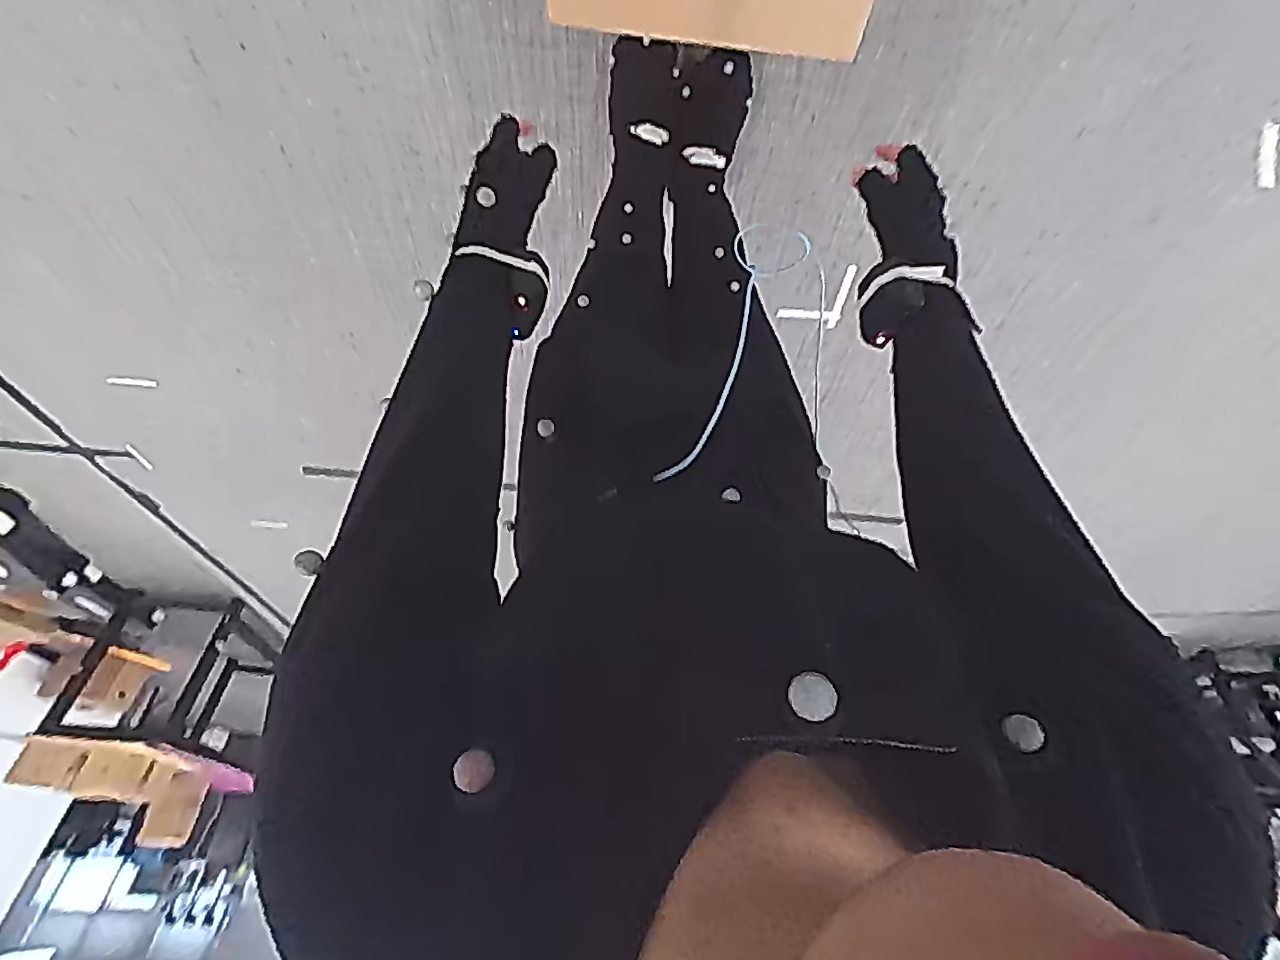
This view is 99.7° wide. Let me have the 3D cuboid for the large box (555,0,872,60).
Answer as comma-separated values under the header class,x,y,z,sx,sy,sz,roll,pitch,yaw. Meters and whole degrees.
class,x,y,z,sx,sy,sz,roll,pitch,yaw
large box,0.103,-0.782,0.680,0.408,0.320,0.320,5,144,-3
